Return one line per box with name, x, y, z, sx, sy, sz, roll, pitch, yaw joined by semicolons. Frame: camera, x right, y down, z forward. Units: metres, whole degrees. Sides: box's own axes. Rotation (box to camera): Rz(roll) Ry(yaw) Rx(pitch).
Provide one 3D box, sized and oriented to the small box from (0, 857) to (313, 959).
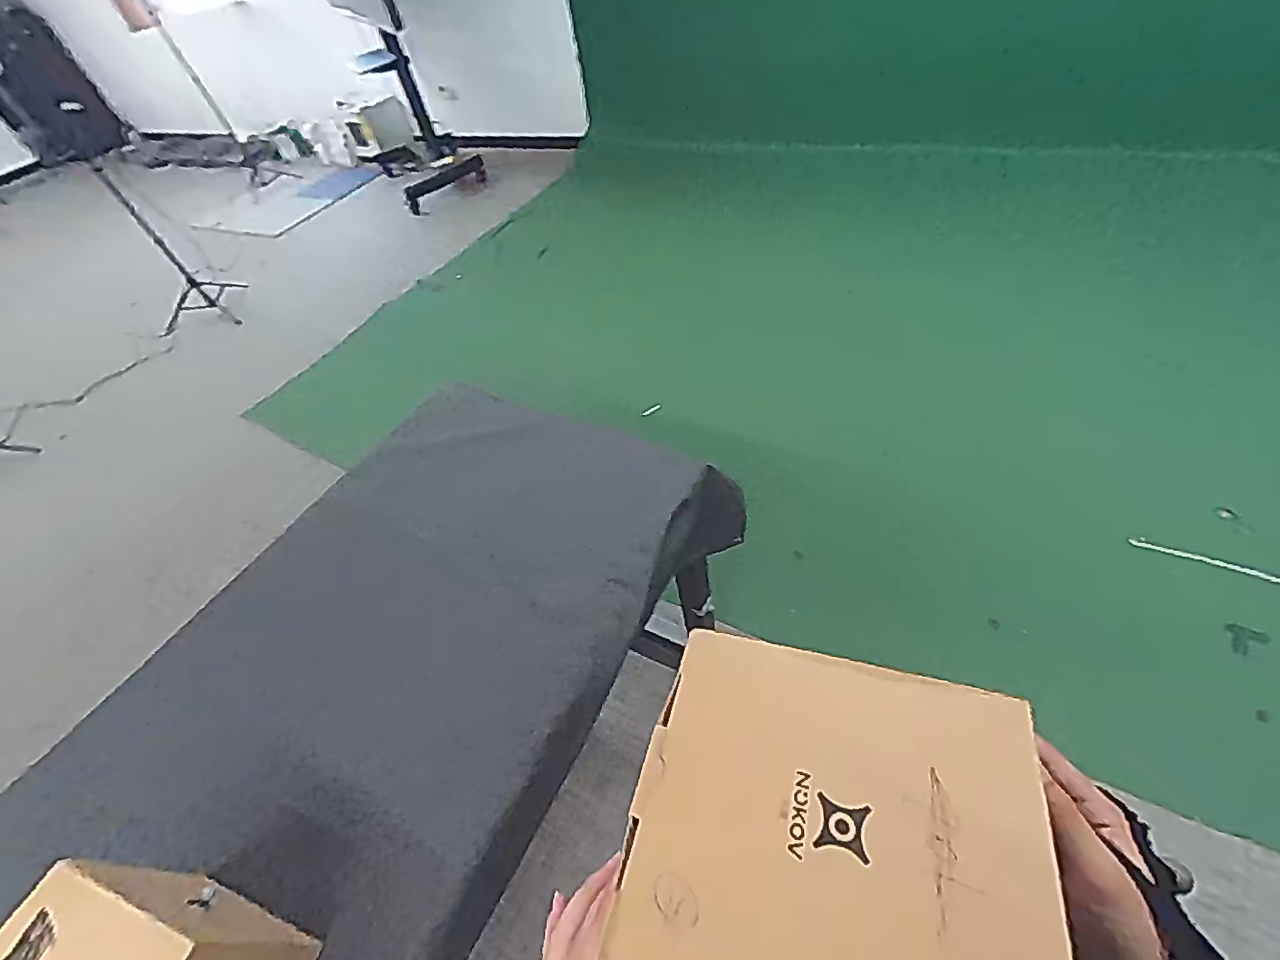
small box;-0.430;0.447;0.448;0.179;0.176;0.168;9;53;18
